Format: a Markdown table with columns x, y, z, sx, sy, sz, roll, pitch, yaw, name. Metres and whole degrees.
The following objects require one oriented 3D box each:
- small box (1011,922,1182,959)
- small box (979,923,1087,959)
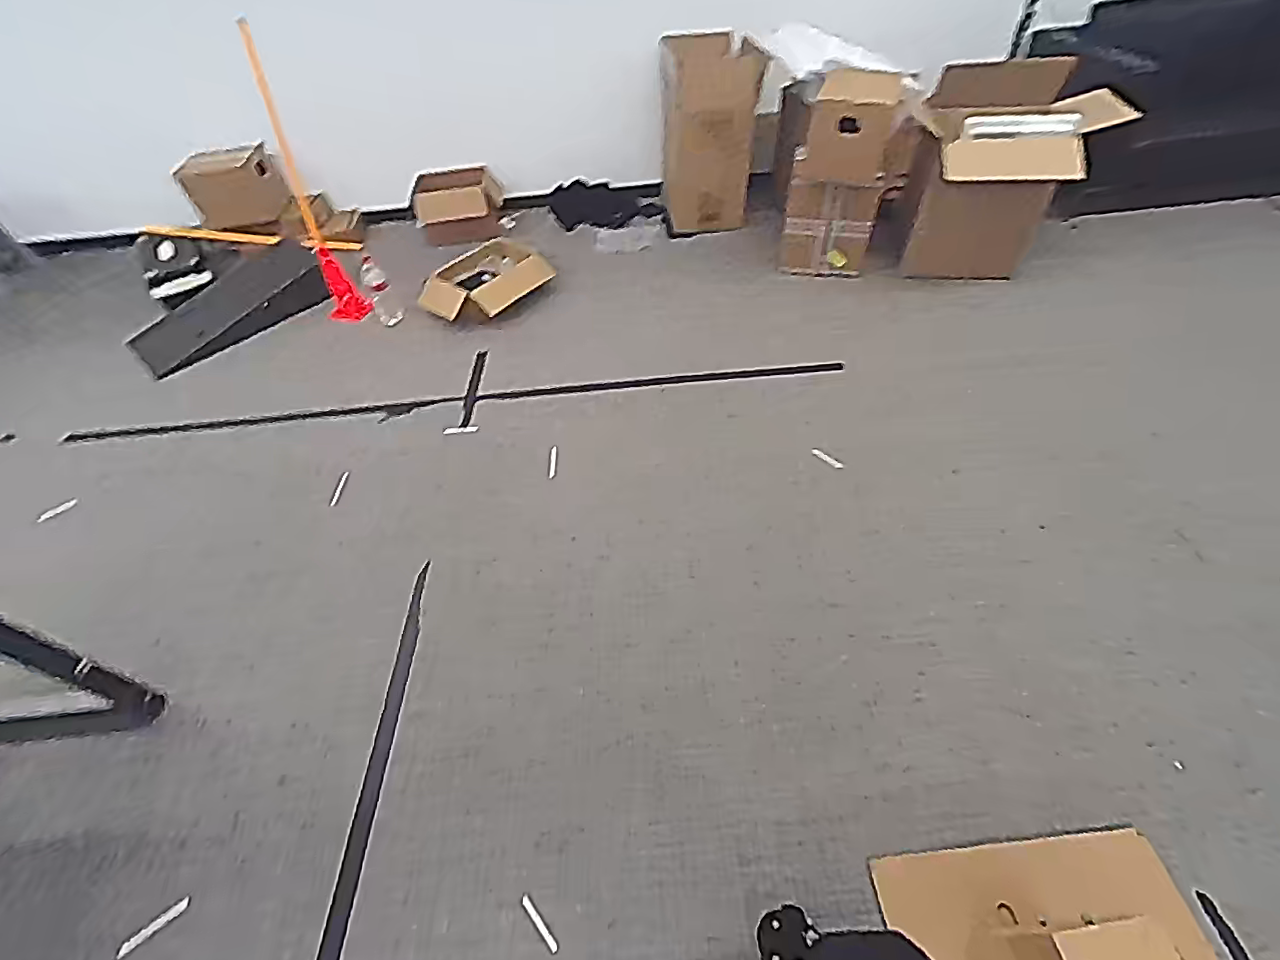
| x | y | z | sx | sy | sz | roll | pitch | yaw | name |
| --- | --- | --- | --- | --- | --- | --- | --- | --- | --- |
| 0.741 | 0.812 | 0.850 | 0.179 | 0.176 | 0.168 | -8 | 49 | -2 | small box |
| 0.750 | 0.919 | 0.975 | 0.179 | 0.176 | 0.168 | -8 | 49 | -1 | small box |
